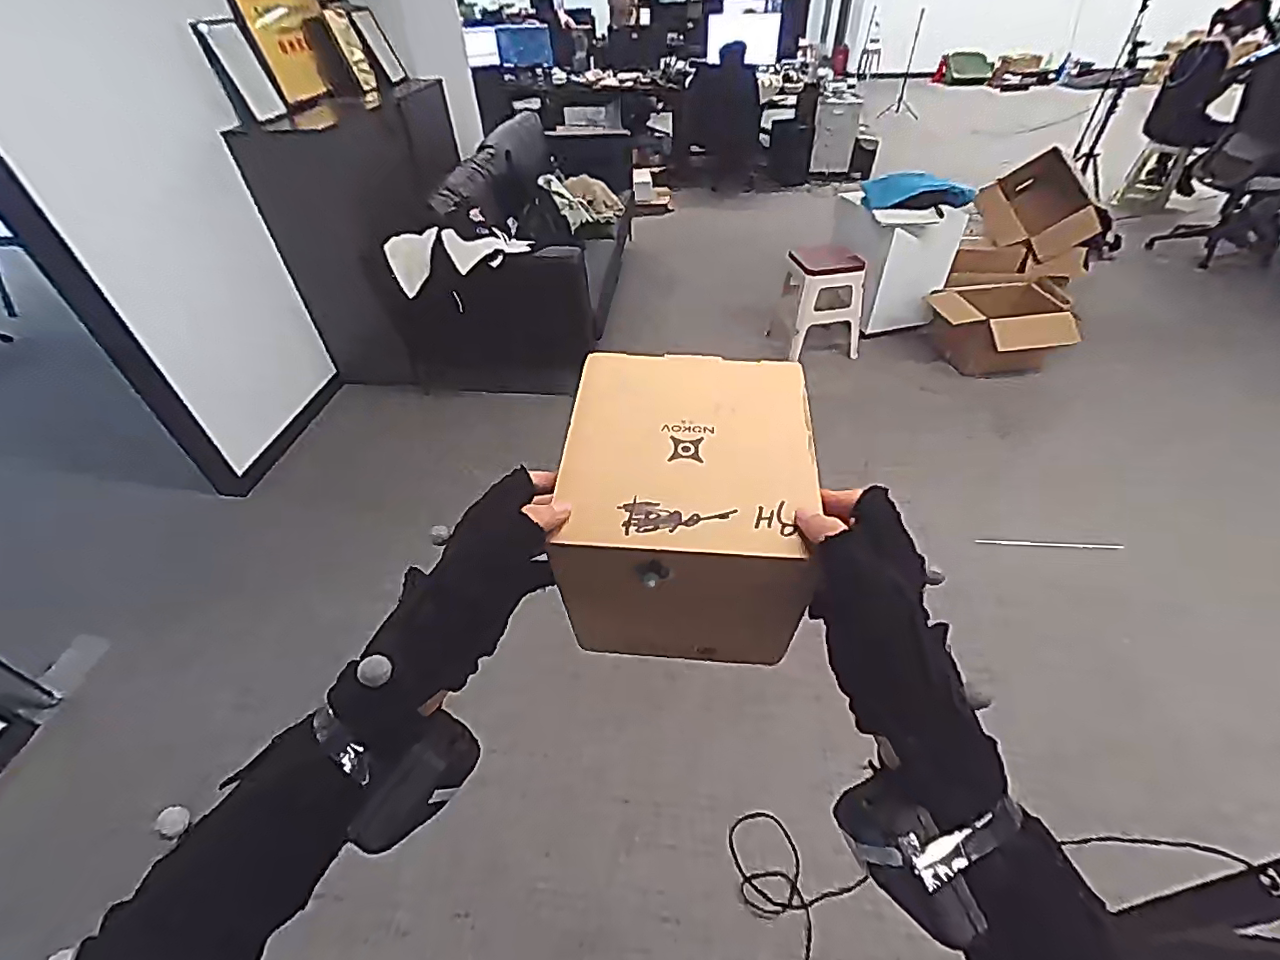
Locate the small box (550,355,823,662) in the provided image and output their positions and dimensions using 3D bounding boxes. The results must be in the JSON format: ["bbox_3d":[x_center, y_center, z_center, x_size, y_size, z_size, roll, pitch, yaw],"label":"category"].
[{"bbox_3d":[0.037,0.023,0.432,0.168,0.176,0.179,3,51,6],"label":"small box"}]
